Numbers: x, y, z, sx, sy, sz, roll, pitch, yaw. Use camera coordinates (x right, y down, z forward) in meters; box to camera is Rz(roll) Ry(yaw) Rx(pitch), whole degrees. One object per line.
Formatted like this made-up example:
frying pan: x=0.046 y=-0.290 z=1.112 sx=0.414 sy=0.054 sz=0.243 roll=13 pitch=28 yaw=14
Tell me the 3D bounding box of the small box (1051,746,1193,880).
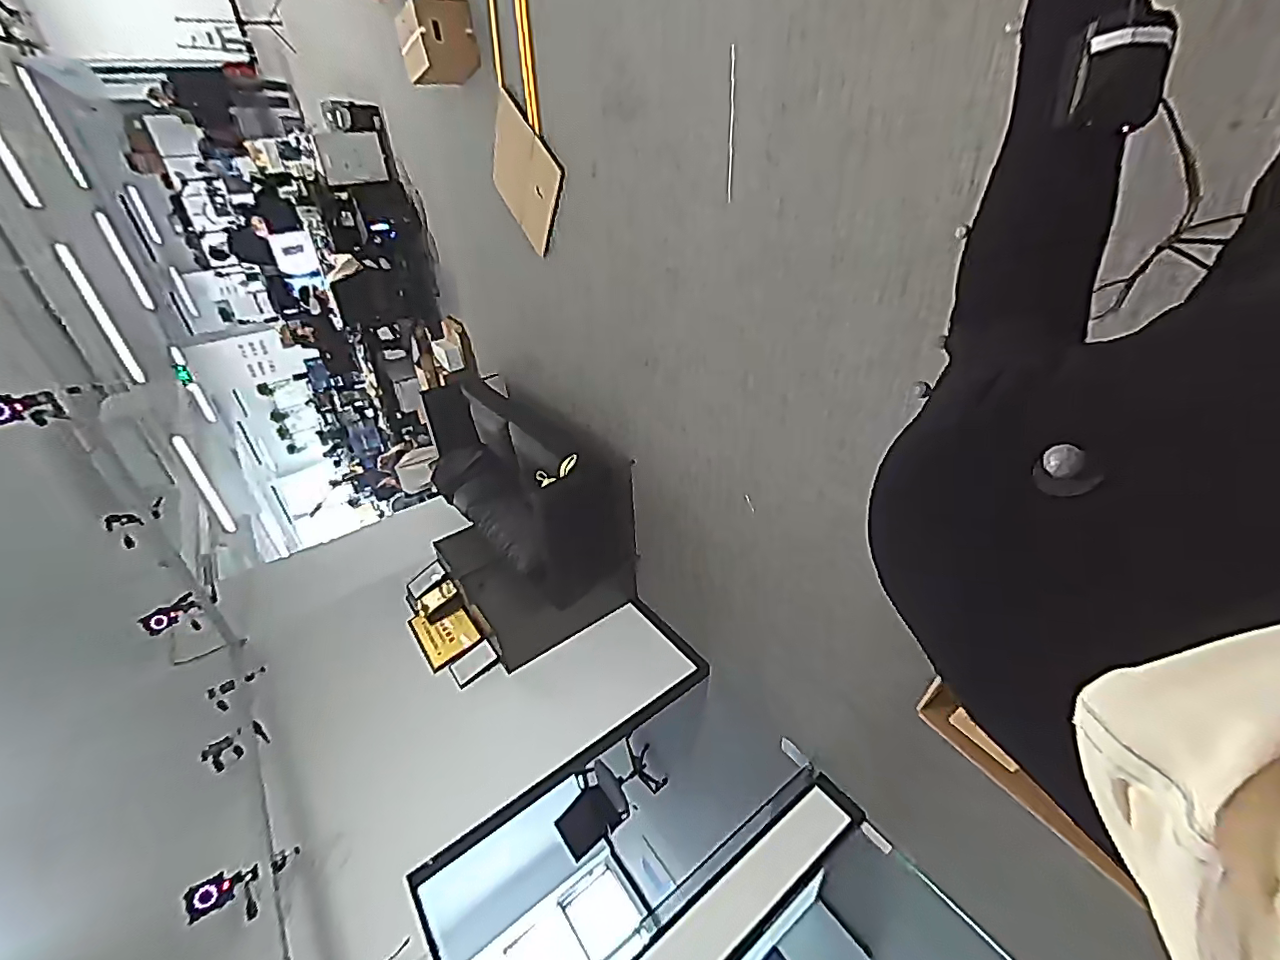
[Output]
small box: x=1.121 y=0.767 z=1.259 sx=0.179 sy=0.176 sz=0.168 roll=38 pitch=141 yaw=39
